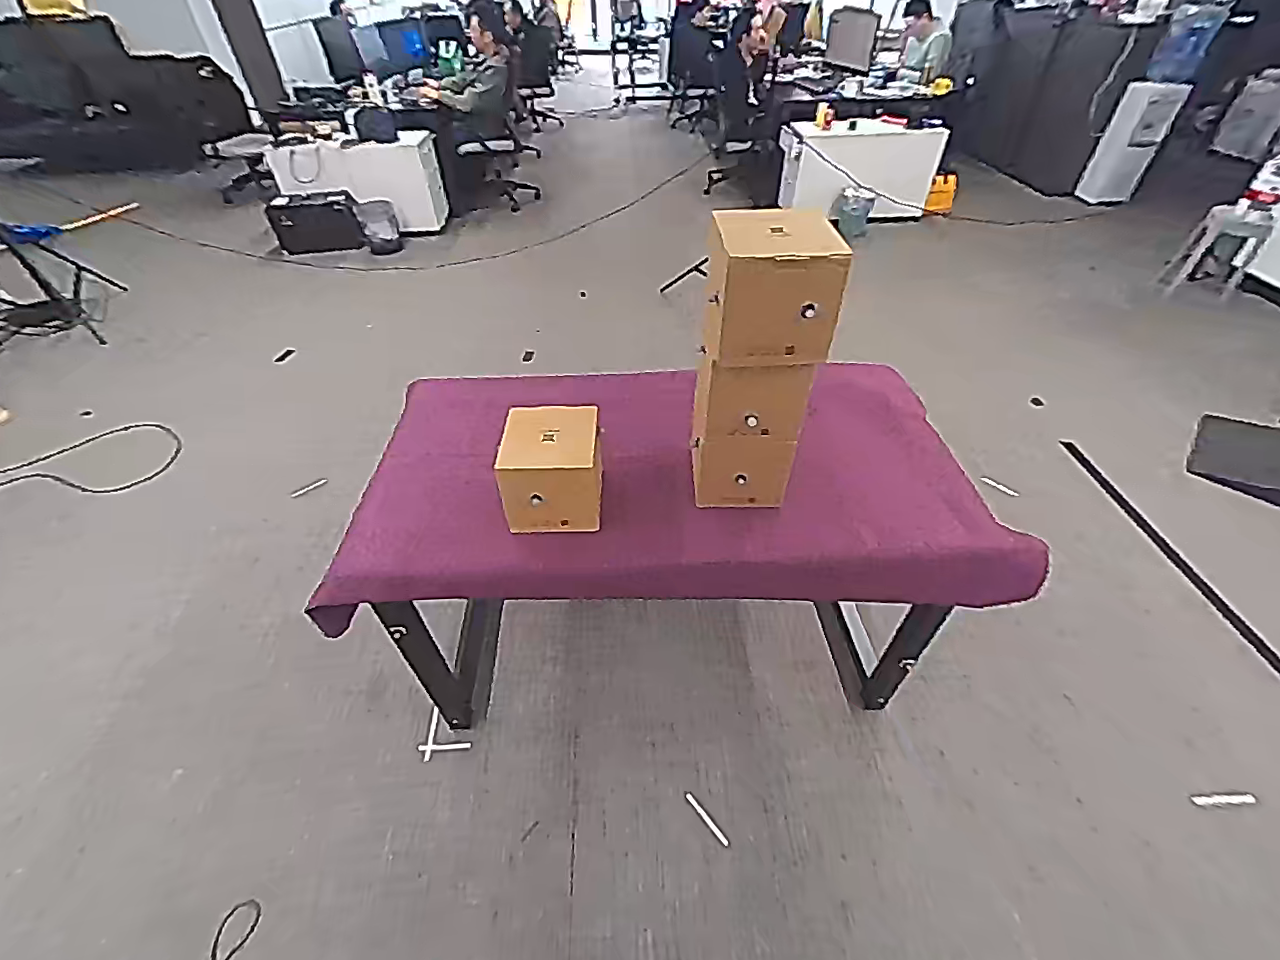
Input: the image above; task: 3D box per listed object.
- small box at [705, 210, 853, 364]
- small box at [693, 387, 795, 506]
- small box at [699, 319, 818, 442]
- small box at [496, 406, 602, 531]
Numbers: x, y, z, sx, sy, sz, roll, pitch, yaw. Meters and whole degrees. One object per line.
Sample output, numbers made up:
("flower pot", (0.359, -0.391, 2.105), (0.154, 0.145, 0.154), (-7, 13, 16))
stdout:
("small box", (0.194, -0.286, 0.810), (0.168, 0.176, 0.179), (-2, 44, -2))
("small box", (0.192, -0.064, 1.051), (0.168, 0.176, 0.179), (0, 44, 1))
("small box", (0.193, -0.185, 0.939), (0.168, 0.176, 0.179), (0, 45, 1))
("small box", (-0.158, -0.018, 1.010), (0.168, 0.176, 0.179), (-1, 43, -1))
